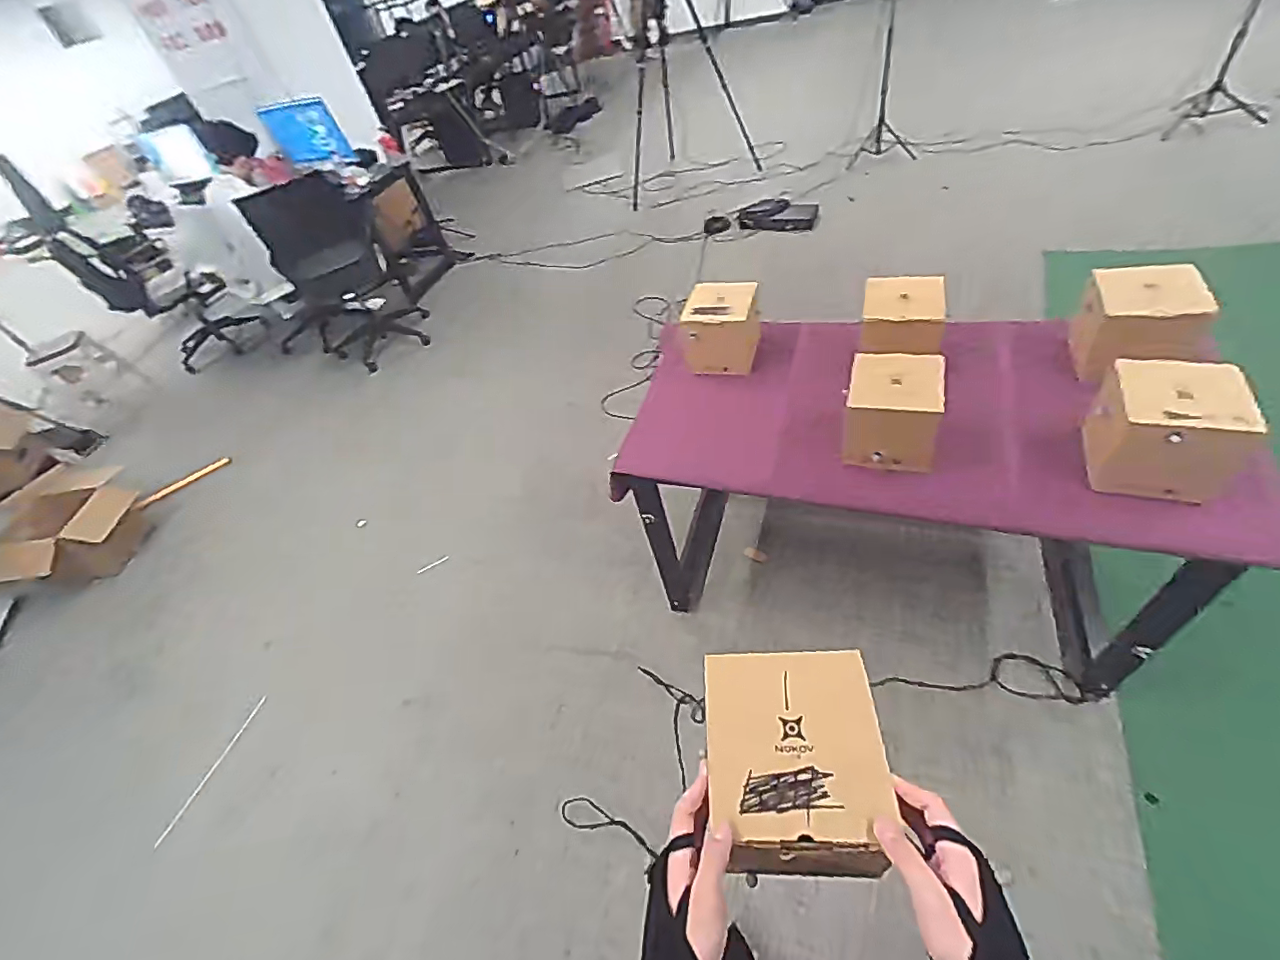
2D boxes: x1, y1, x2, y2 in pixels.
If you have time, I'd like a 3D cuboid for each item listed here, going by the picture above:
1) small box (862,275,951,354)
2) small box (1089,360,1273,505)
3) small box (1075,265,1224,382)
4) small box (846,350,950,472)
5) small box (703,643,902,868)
[{"bbox_3d":[0.622,-0.362,1.274,0.168,0.176,0.179,7,52,20],"label":"small box"},{"bbox_3d":[0.913,-0.085,0.937,0.168,0.176,0.179,9,49,24],"label":"small box"},{"bbox_3d":[1.032,-0.319,1.116,0.168,0.176,0.179,6,51,24],"label":"small box"},{"bbox_3d":[0.520,-0.143,1.101,0.168,0.176,0.179,8,51,23],"label":"small box"},{"bbox_3d":[0.158,0.293,0.572,0.168,0.176,0.179,-5,46,9],"label":"small box"}]
